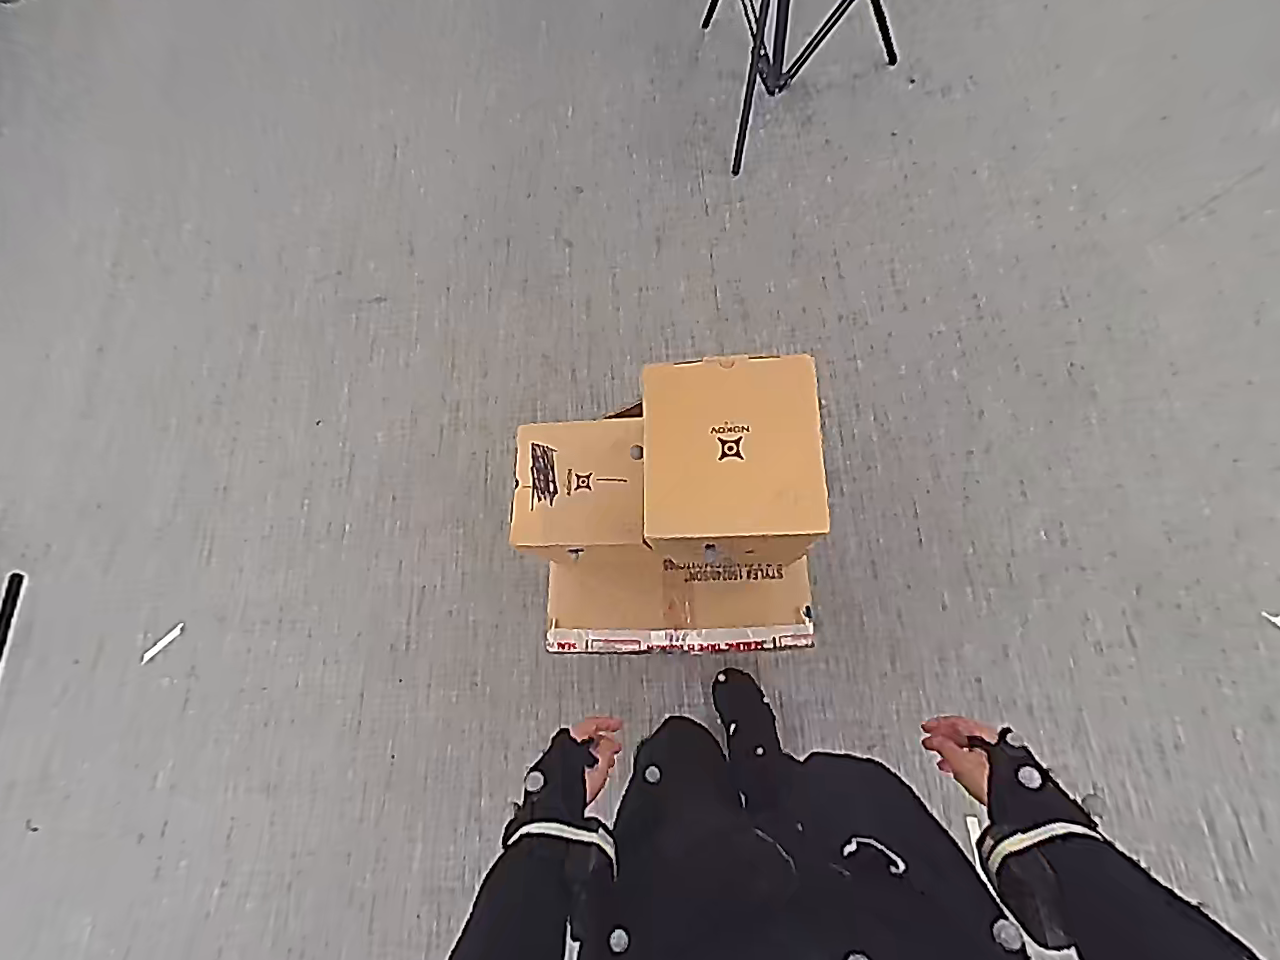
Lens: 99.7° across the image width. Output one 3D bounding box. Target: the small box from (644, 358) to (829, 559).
[{"bbox_3d":[0.096,-0.009,0.577,0.168,0.176,0.179,-3,74,7],"label":"small box"}]
